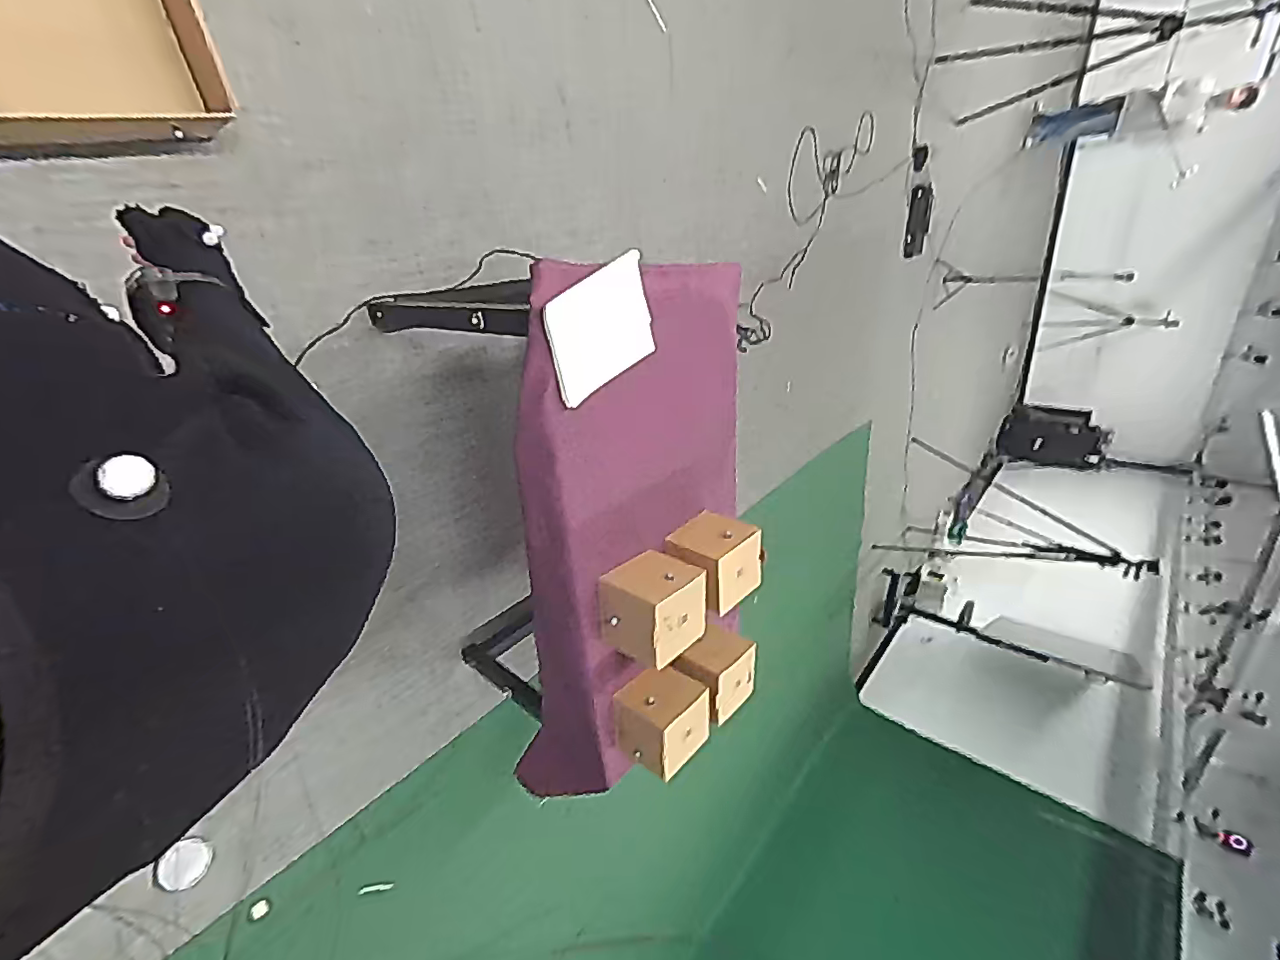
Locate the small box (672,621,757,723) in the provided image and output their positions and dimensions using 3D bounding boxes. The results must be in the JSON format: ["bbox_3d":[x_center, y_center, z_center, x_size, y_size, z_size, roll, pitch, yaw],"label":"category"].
[{"bbox_3d":[0.201,0.519,1.485,0.179,0.176,0.168,-20,117,-43],"label":"small box"}]

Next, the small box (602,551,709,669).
[{"bbox_3d":[0.035,0.279,1.211,0.179,0.176,0.168,-22,119,-43],"label":"small box"}]

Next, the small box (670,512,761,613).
[{"bbox_3d":[0.186,0.201,1.363,0.179,0.176,0.168,-29,123,-40],"label":"small box"}]
